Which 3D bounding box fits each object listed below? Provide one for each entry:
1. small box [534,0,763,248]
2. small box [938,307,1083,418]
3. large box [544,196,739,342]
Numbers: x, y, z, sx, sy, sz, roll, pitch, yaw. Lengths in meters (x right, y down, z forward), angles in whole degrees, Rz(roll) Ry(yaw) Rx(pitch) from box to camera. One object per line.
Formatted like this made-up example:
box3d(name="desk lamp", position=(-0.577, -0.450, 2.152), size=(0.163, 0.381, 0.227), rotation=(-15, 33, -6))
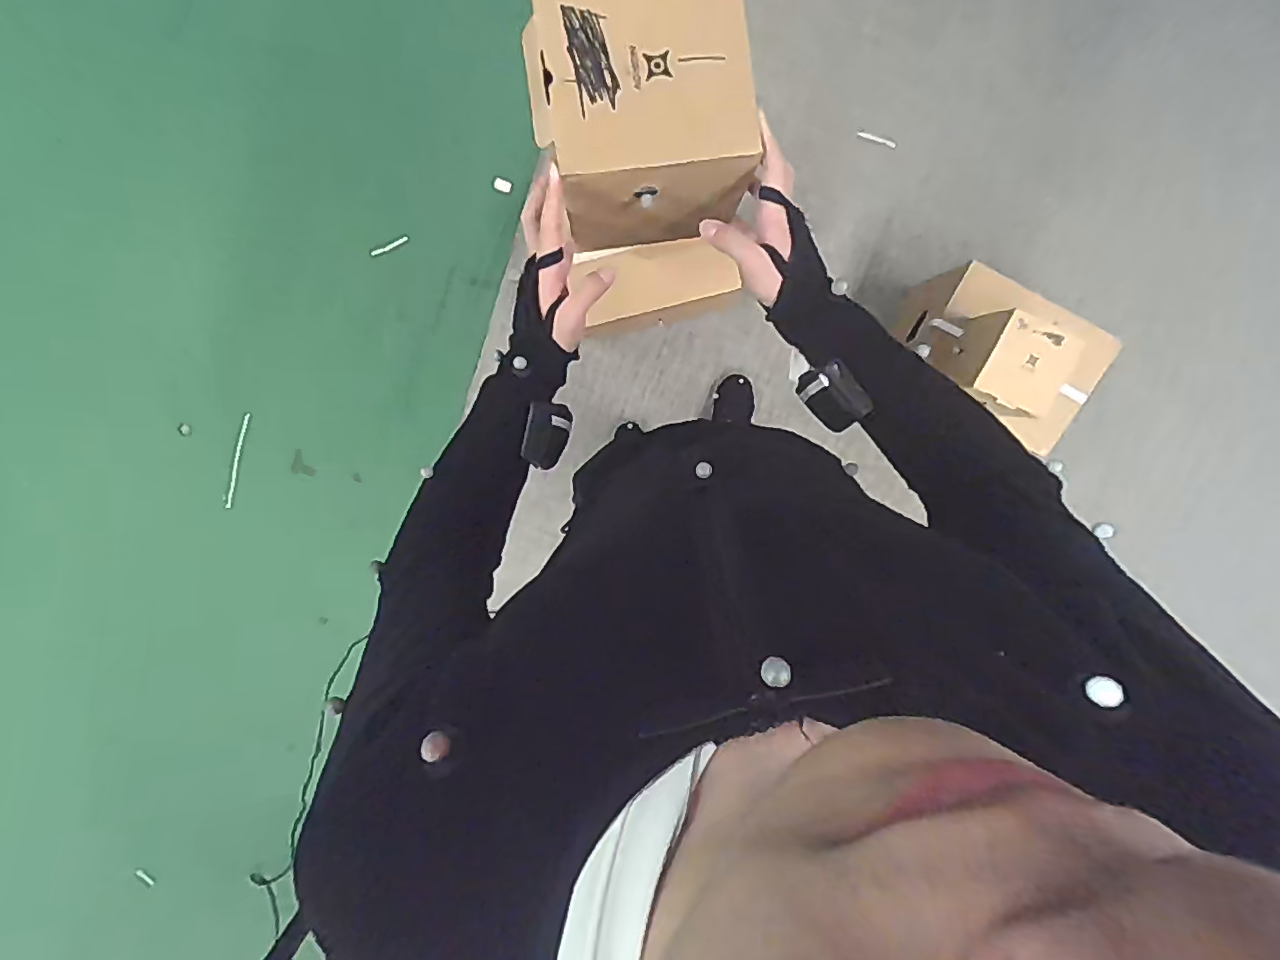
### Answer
box3d(name="small box", position=(0.006, -0.345, 0.528), size=(0.179, 0.176, 0.168), rotation=(-8, 93, -2))
box3d(name="small box", position=(0.789, -0.251, 1.179), size=(0.168, 0.176, 0.179), rotation=(24, 101, -2))
box3d(name="large box", position=(0.011, -0.570, 1.403), size=(0.408, 0.320, 0.320), rotation=(-14, 98, 5))
